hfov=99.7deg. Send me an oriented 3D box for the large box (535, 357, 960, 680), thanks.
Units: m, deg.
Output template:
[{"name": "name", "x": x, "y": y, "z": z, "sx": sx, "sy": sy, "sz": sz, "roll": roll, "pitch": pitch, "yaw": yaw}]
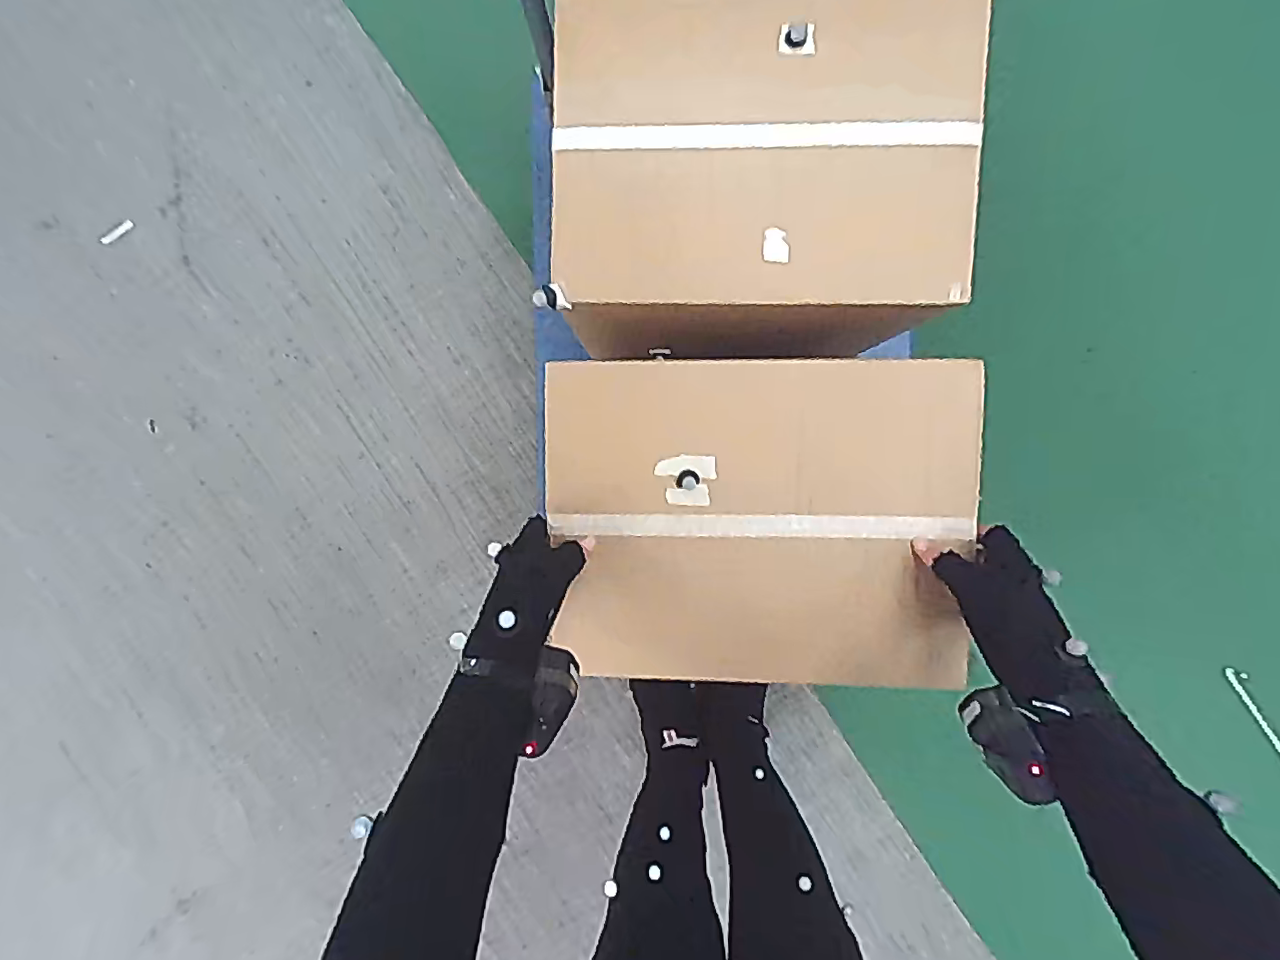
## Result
[{"name": "large box", "x": 0.111, "y": 0.025, "z": 0.671, "sx": 0.408, "sy": 0.320, "sz": 0.320, "roll": 1, "pitch": 96, "yaw": 5}]
